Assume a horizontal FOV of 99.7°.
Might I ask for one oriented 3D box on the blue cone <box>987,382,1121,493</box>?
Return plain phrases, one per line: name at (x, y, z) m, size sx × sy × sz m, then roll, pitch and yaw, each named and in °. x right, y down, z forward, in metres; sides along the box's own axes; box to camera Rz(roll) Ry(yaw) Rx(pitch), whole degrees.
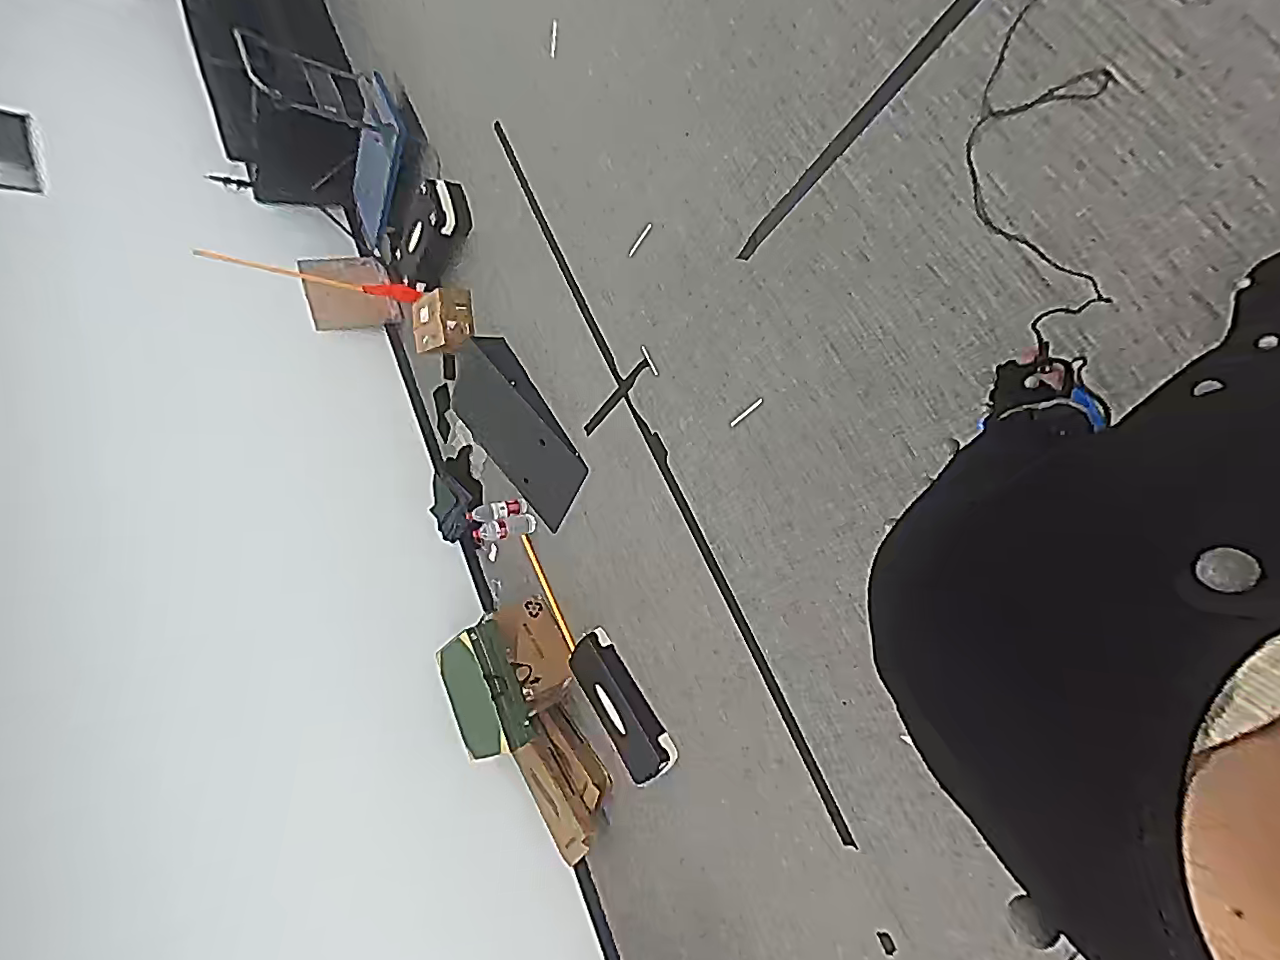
blue cone at (0.741, -0.064, 1.039) m, size 0.193 × 0.380 × 0.192 m, roll -41°, pitch 68°, yaw 46°
